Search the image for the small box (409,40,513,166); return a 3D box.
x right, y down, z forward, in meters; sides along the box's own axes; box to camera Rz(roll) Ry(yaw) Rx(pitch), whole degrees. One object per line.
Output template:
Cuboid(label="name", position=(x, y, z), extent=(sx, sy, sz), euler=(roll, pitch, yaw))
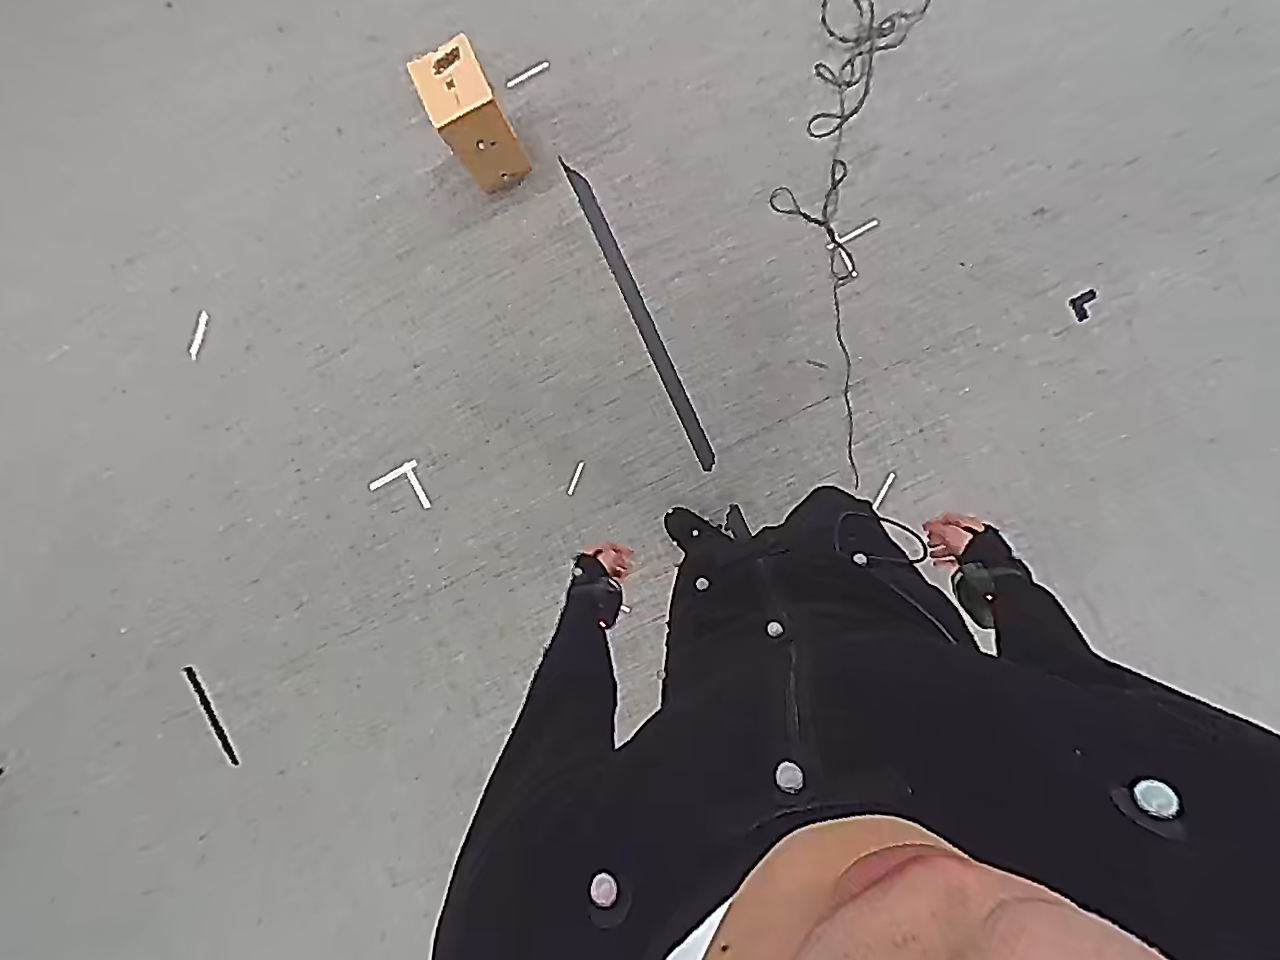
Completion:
Cuboid(label="small box", position=(-0.452, -0.960, 1.393), extent=(0.168, 0.176, 0.179), euler=(-24, 91, 6))

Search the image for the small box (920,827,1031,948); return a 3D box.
Cuboid(label="small box", position=(0.914, 1.113, 1.488), extent=(0.168, 0.176, 0.179), euler=(-28, 89, 4))
